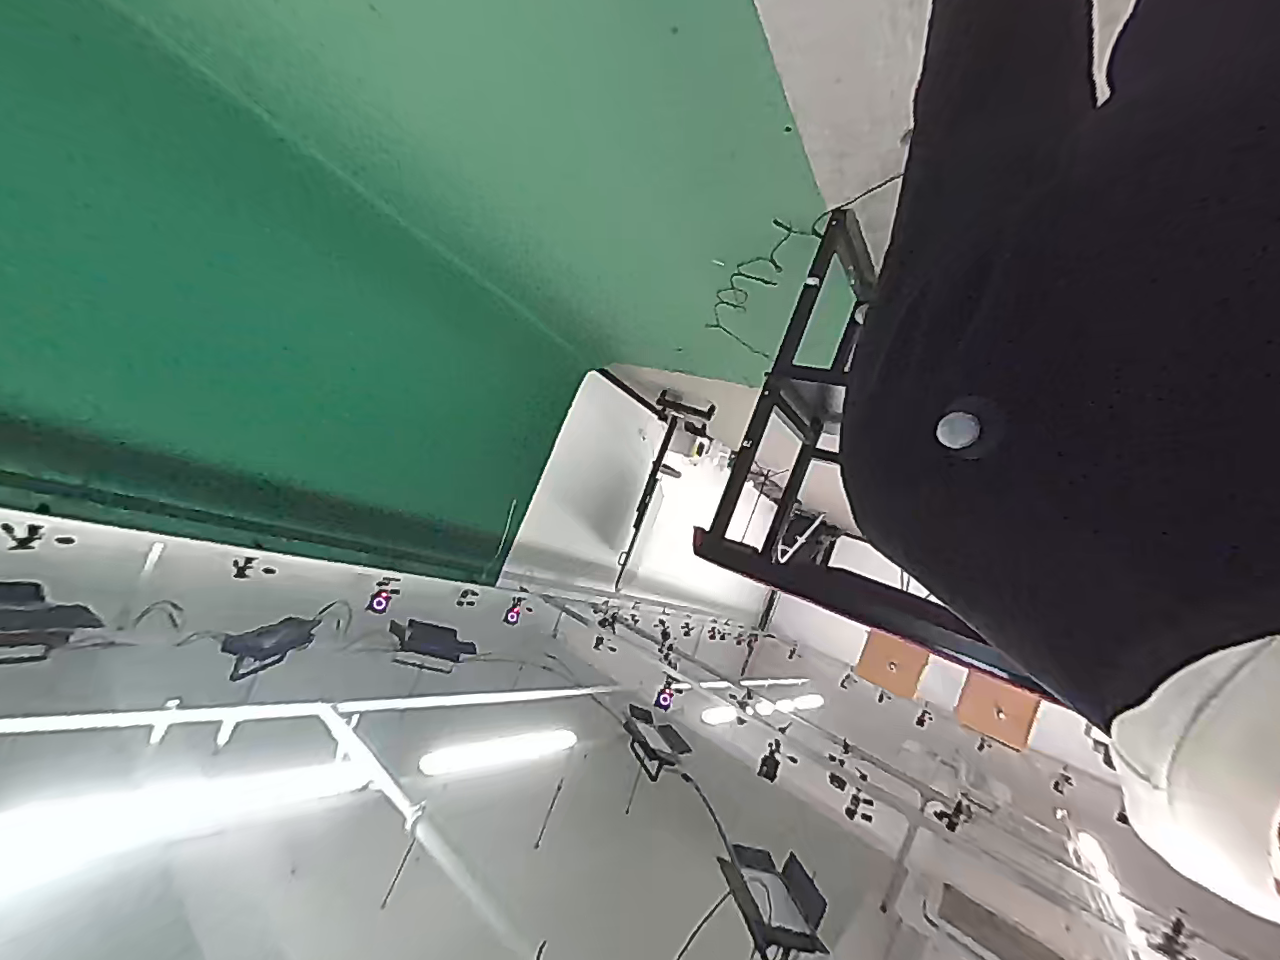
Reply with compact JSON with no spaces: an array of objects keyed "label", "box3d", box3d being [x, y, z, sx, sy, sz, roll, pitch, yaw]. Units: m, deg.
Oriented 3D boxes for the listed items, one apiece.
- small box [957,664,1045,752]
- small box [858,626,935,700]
[{"label":"small box","box3d":[1.029,0.643,1.545,0.179,0.176,0.168,18,174,35]},{"label":"small box","box3d":[0.817,0.574,1.718,0.179,0.176,0.168,18,175,33]}]
